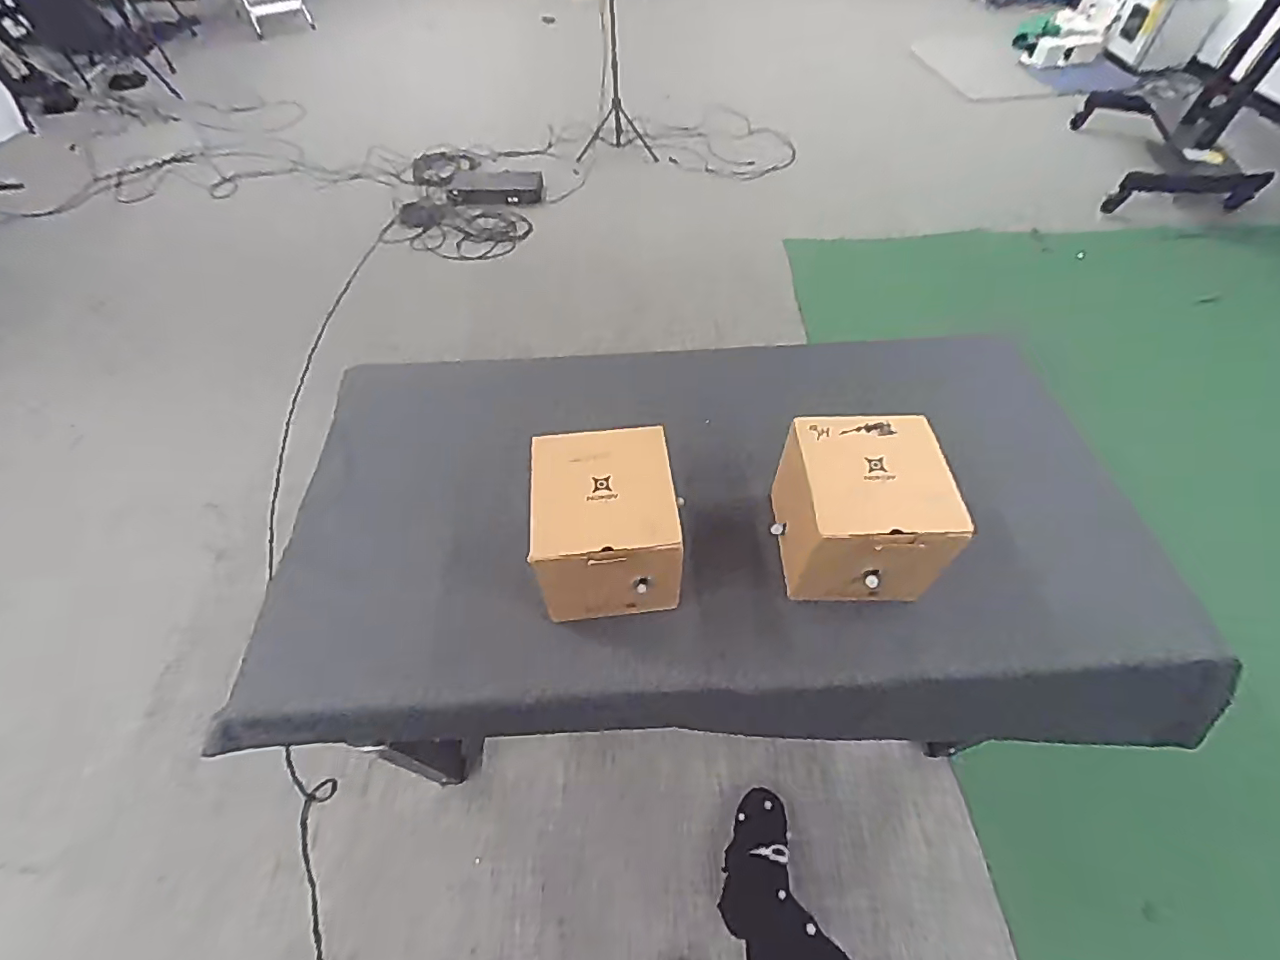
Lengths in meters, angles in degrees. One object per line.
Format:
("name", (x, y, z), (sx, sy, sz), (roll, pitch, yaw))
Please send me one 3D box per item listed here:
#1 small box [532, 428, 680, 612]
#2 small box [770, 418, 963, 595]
("small box", (-0.044, 0.057, 0.694), (0.168, 0.176, 0.179), (-5, 52, -5))
("small box", (0.273, 0.040, 0.700), (0.168, 0.176, 0.179), (0, 54, 1))
